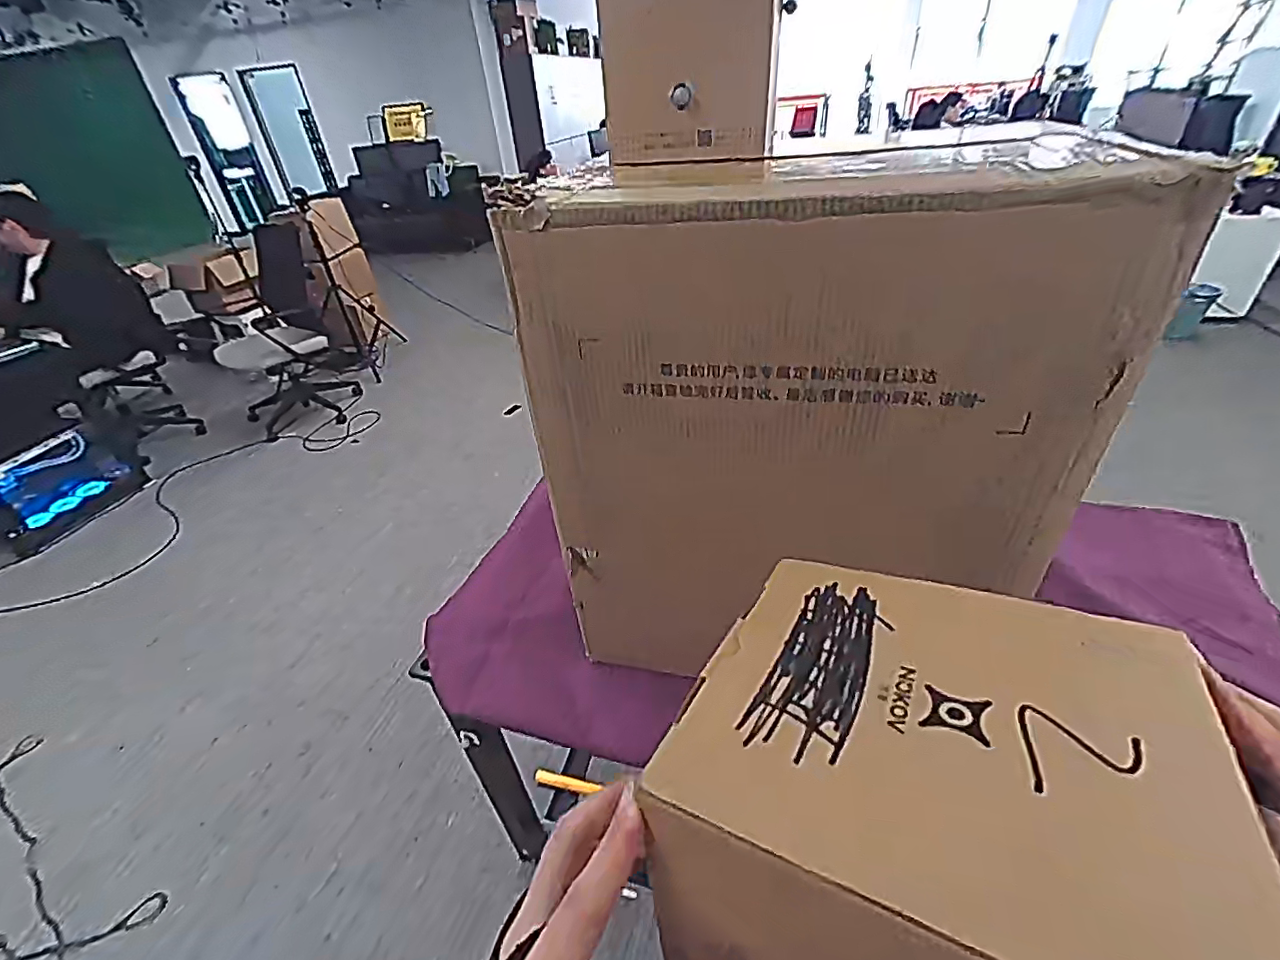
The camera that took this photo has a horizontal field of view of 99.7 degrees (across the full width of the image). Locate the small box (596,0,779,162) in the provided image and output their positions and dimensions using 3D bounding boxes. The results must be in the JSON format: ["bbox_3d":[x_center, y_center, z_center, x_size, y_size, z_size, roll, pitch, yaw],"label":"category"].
[{"bbox_3d":[0.056,-0.445,0.576,0.168,0.176,0.179,5,37,14],"label":"small box"}]
